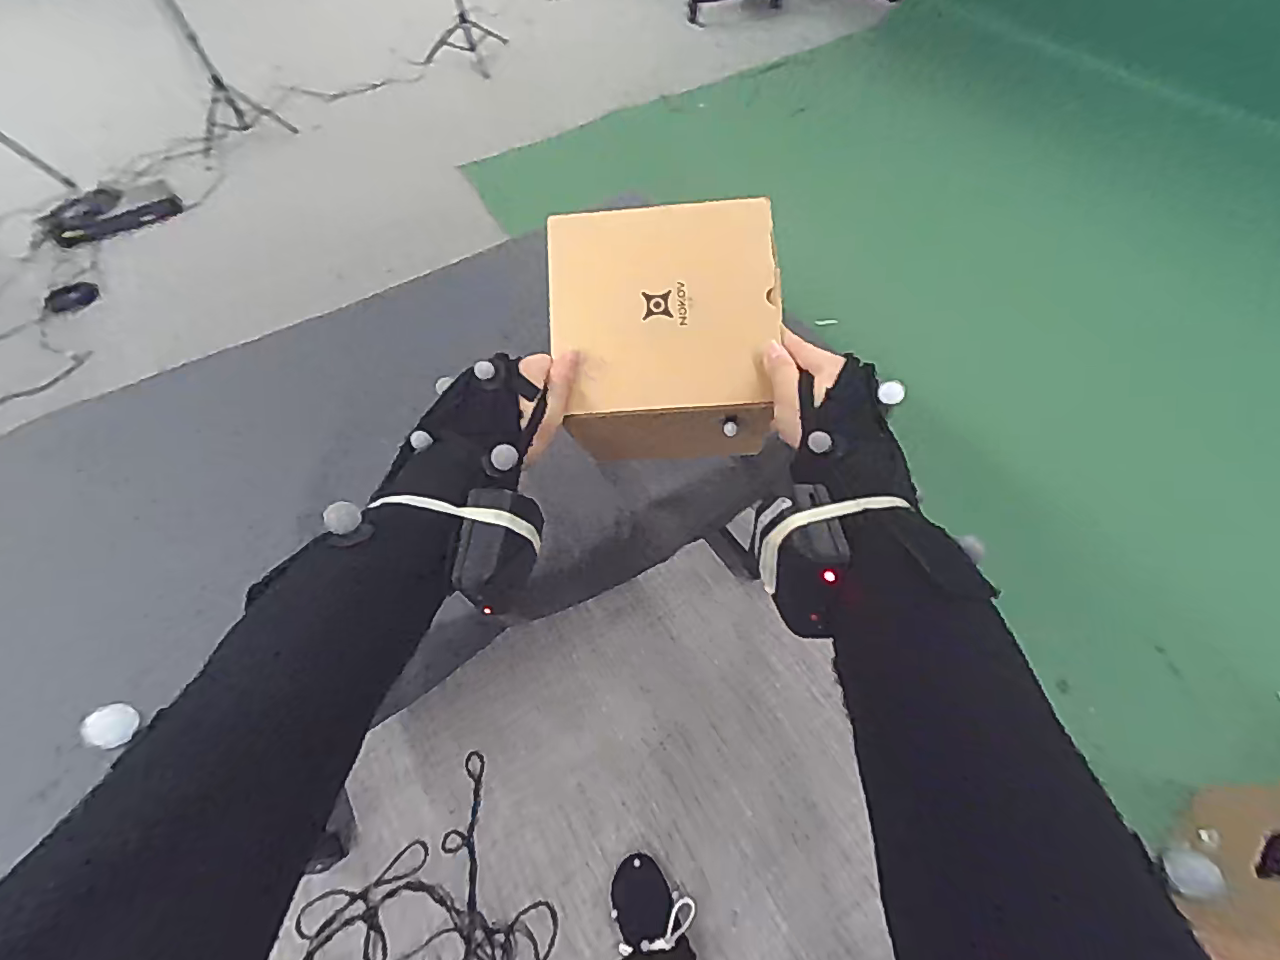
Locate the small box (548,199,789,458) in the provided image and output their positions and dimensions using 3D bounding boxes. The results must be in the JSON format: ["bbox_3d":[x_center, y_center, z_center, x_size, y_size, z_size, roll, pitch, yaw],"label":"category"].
[{"bbox_3d":[0.023,-0.117,0.480,0.179,0.176,0.168,-2,79,2],"label":"small box"}]
